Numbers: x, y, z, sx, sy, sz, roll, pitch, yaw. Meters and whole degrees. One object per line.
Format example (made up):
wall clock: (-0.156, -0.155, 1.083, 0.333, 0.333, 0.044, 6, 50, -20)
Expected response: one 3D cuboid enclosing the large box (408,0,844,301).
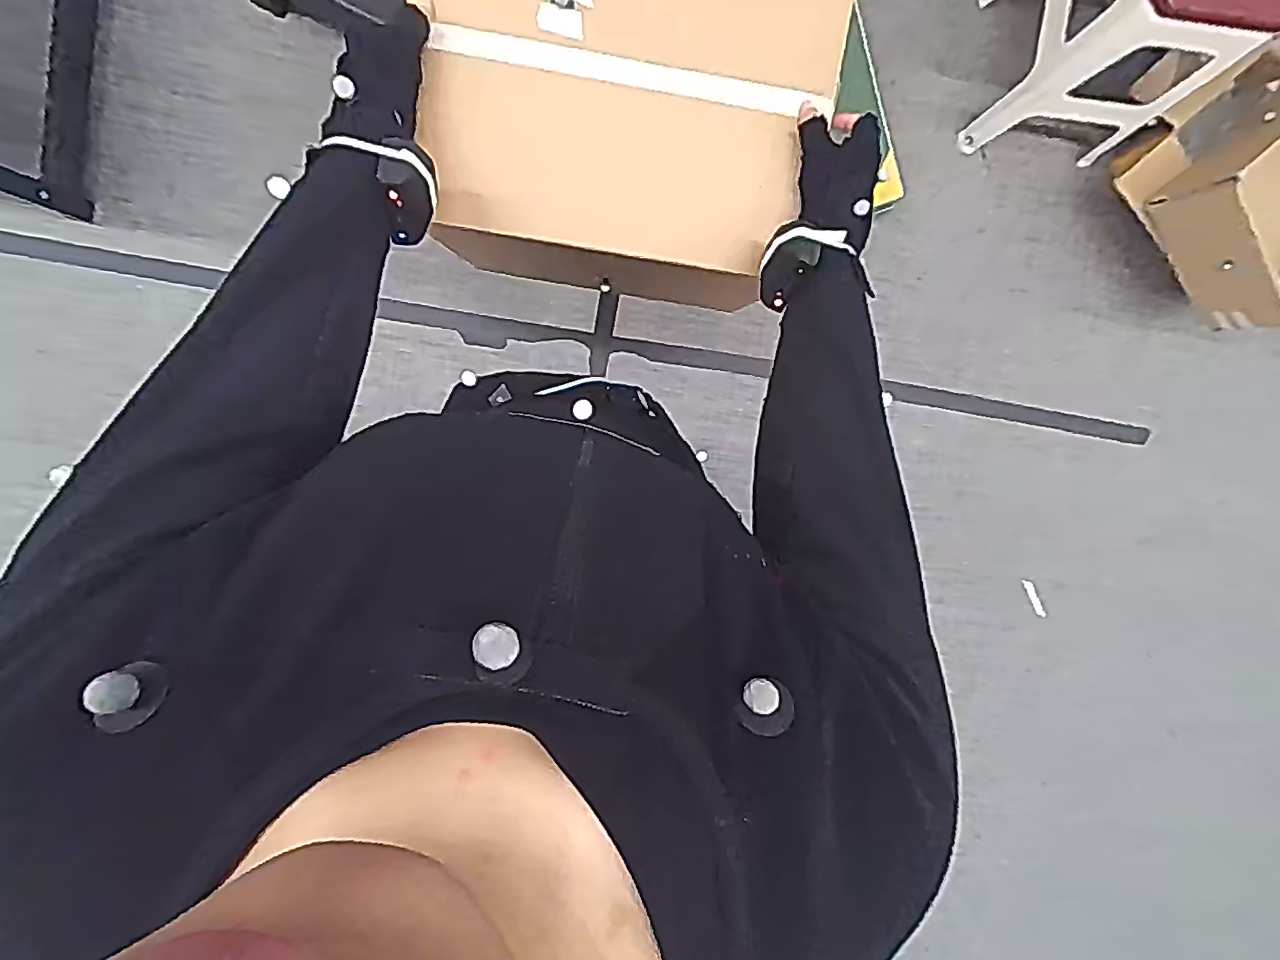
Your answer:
large box: (-0.020, -0.416, 0.665, 0.408, 0.320, 0.320, 8, 101, -4)
